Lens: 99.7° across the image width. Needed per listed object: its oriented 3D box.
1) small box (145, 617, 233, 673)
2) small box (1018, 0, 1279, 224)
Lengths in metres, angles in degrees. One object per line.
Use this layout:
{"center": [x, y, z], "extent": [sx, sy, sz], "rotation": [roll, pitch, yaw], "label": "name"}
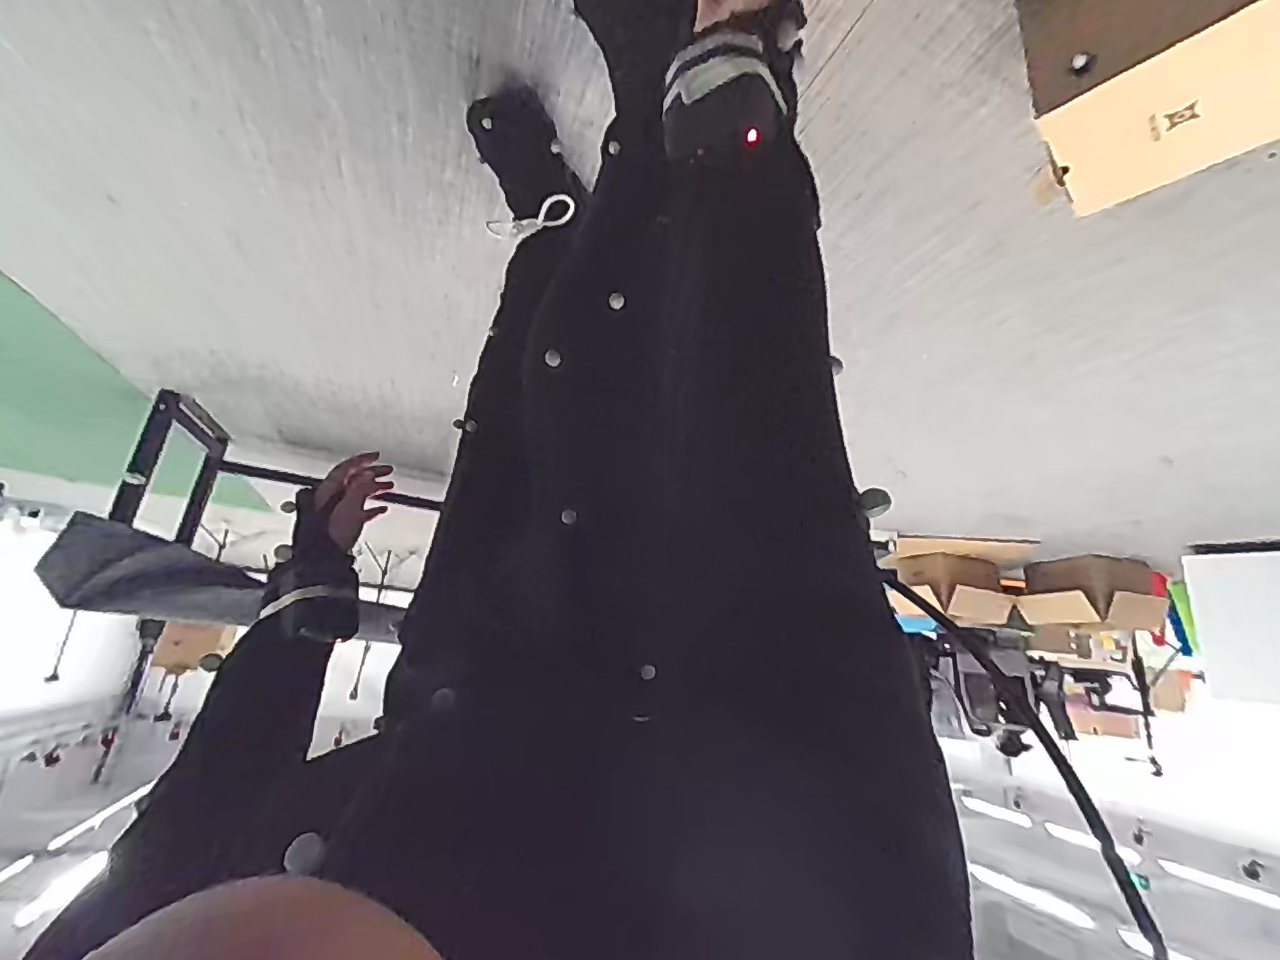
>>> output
{"center": [-1.554, 0.569, 1.874], "extent": [0.168, 0.176, 0.179], "rotation": [14, 162, -18], "label": "small box"}
{"center": [0.489, -0.395, 0.512], "extent": [0.168, 0.176, 0.179], "rotation": [20, 158, -38], "label": "small box"}
